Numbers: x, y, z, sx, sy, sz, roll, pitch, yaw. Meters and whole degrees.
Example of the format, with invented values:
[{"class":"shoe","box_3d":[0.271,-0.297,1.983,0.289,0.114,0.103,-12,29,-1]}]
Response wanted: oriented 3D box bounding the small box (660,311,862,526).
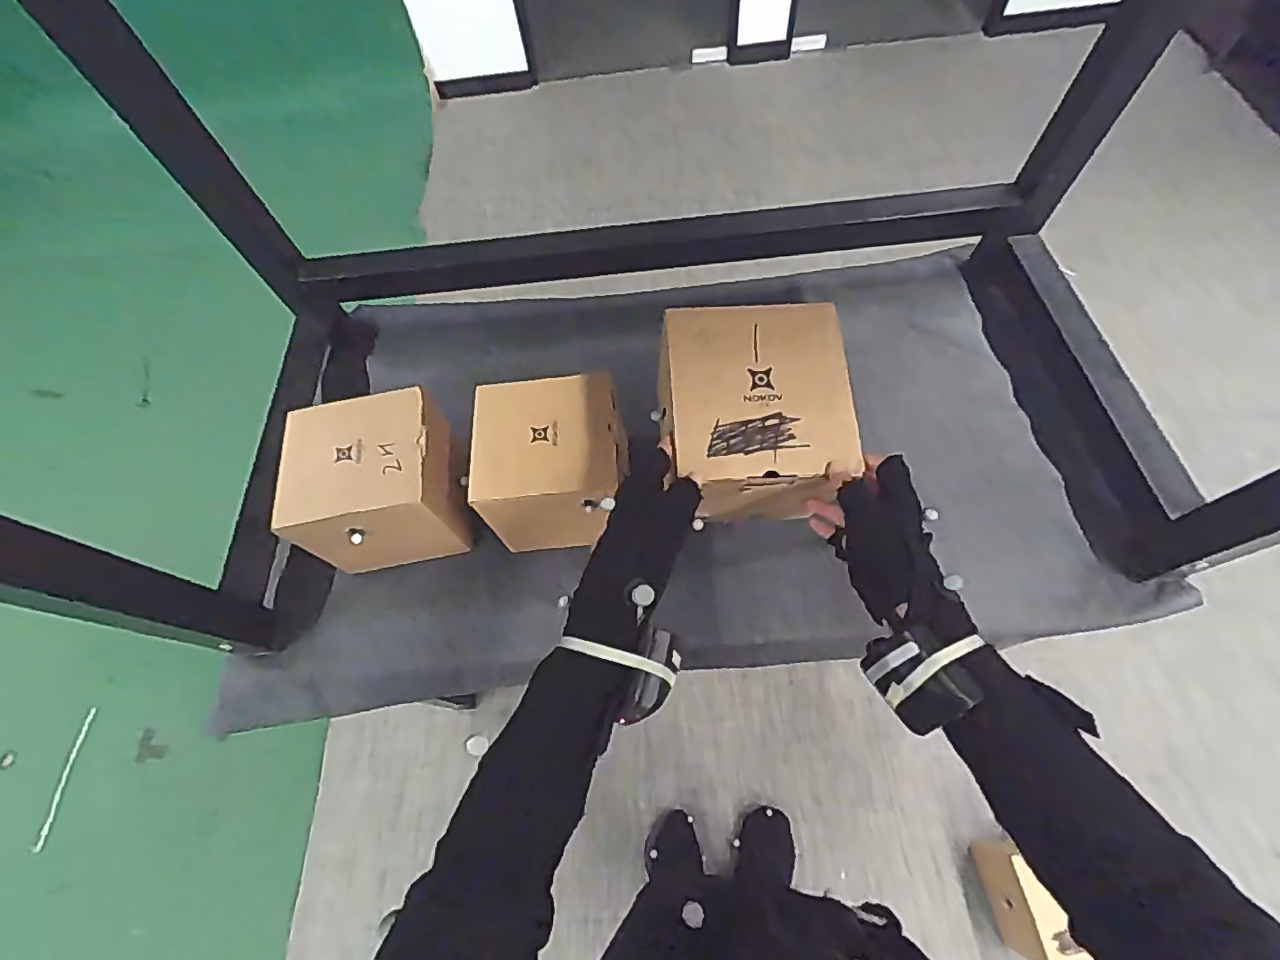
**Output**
[{"class":"small box","box_3d":[0.108,-0.051,0.563,0.168,0.176,0.179,-2,72,-1]}]
